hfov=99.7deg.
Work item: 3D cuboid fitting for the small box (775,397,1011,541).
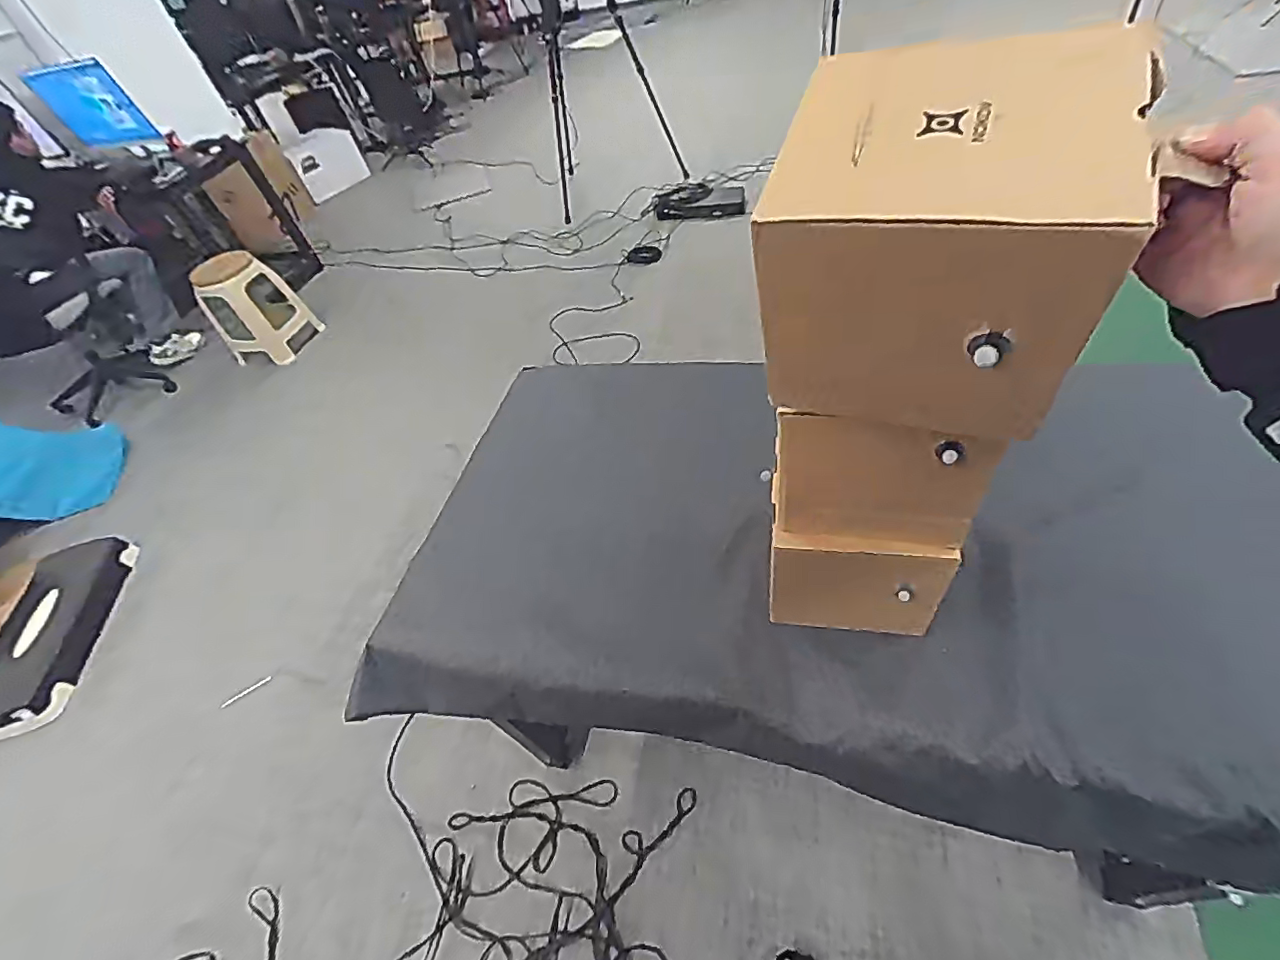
[{"bbox_3d":[0.227,-0.057,0.527,0.179,0.176,0.168,5,50,16],"label":"small box"}]

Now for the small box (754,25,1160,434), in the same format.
[{"bbox_3d":[0.190,-0.149,0.358,0.179,0.176,0.168,11,63,24],"label":"small box"}]
